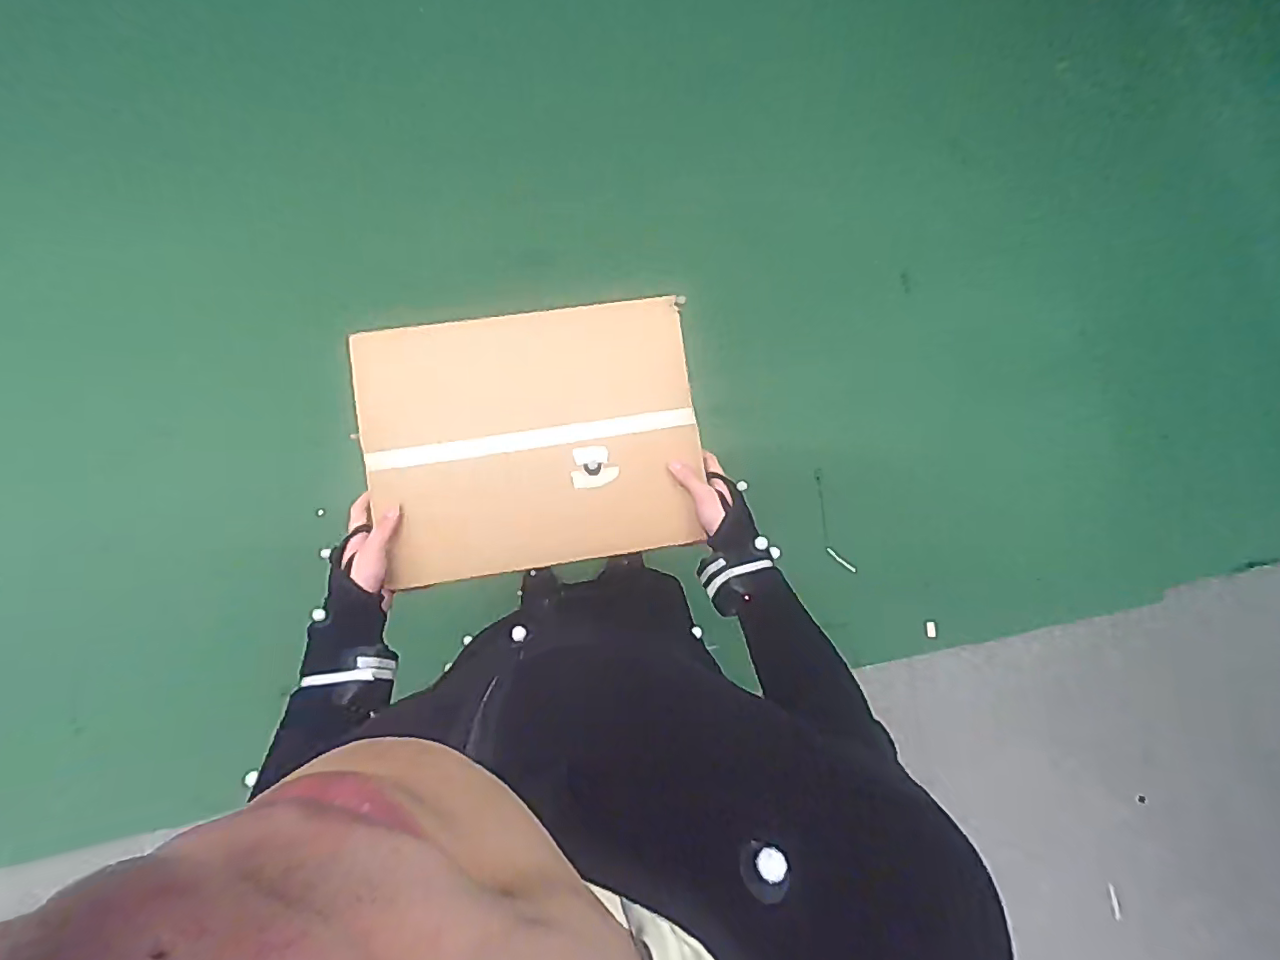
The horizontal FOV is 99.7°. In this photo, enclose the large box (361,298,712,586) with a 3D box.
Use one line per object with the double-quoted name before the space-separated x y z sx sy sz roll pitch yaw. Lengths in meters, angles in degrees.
"large box" -0.139 -0.045 0.824 0.408 0.320 0.320 -9 89 -5
